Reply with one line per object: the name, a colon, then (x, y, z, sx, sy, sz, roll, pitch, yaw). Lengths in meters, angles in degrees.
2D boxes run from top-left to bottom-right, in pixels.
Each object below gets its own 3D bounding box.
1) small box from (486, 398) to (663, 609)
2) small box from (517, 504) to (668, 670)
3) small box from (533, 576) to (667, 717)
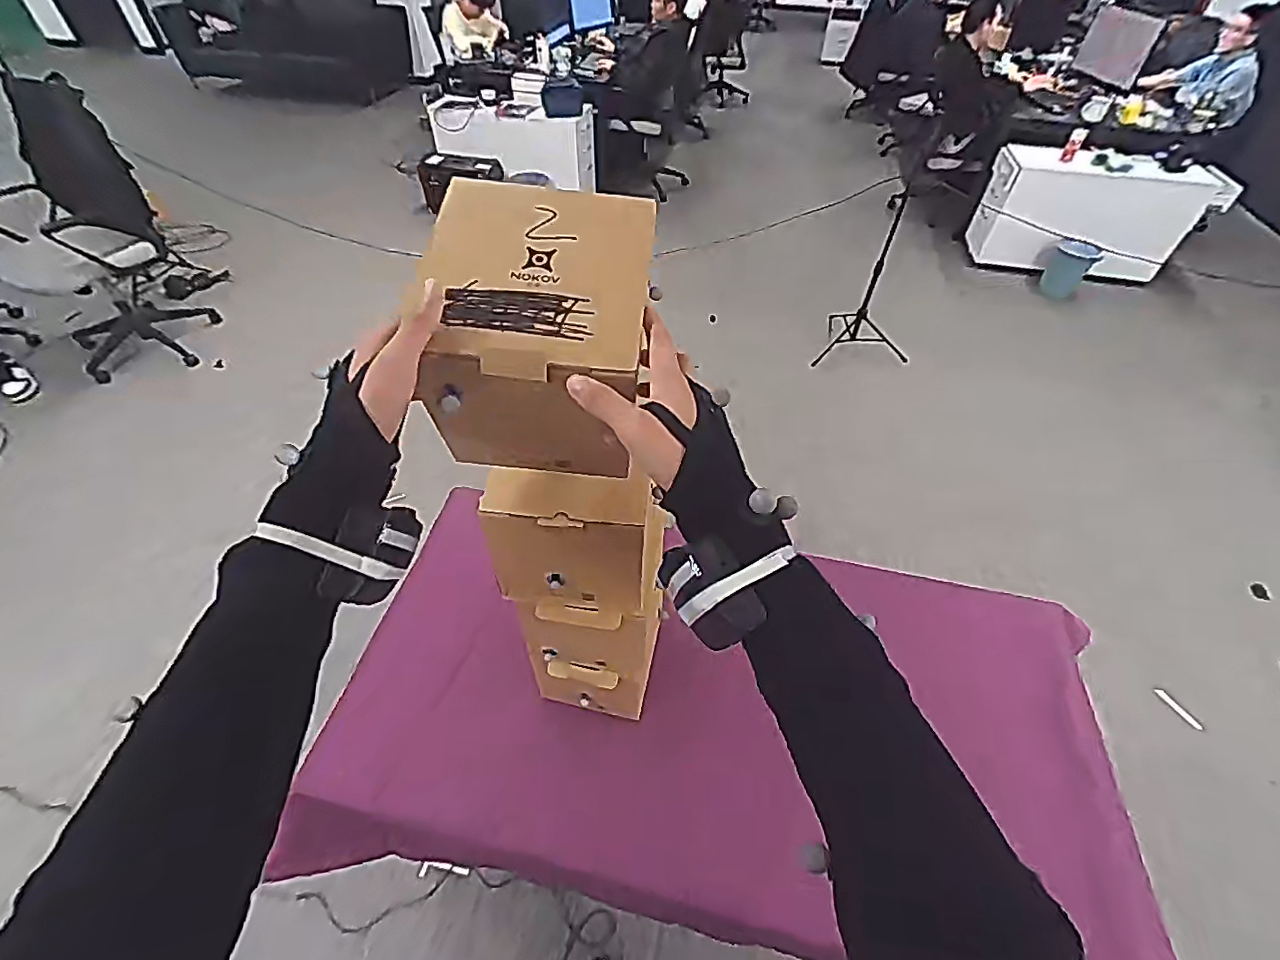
small box: (-0.066, 0.028, 0.636, 0.168, 0.176, 0.179, 5, 49, 2)
small box: (-0.056, 0.142, 0.754, 0.168, 0.176, 0.179, 8, 48, 5)
small box: (-0.058, 0.253, 0.875, 0.168, 0.176, 0.179, 11, 49, 8)
